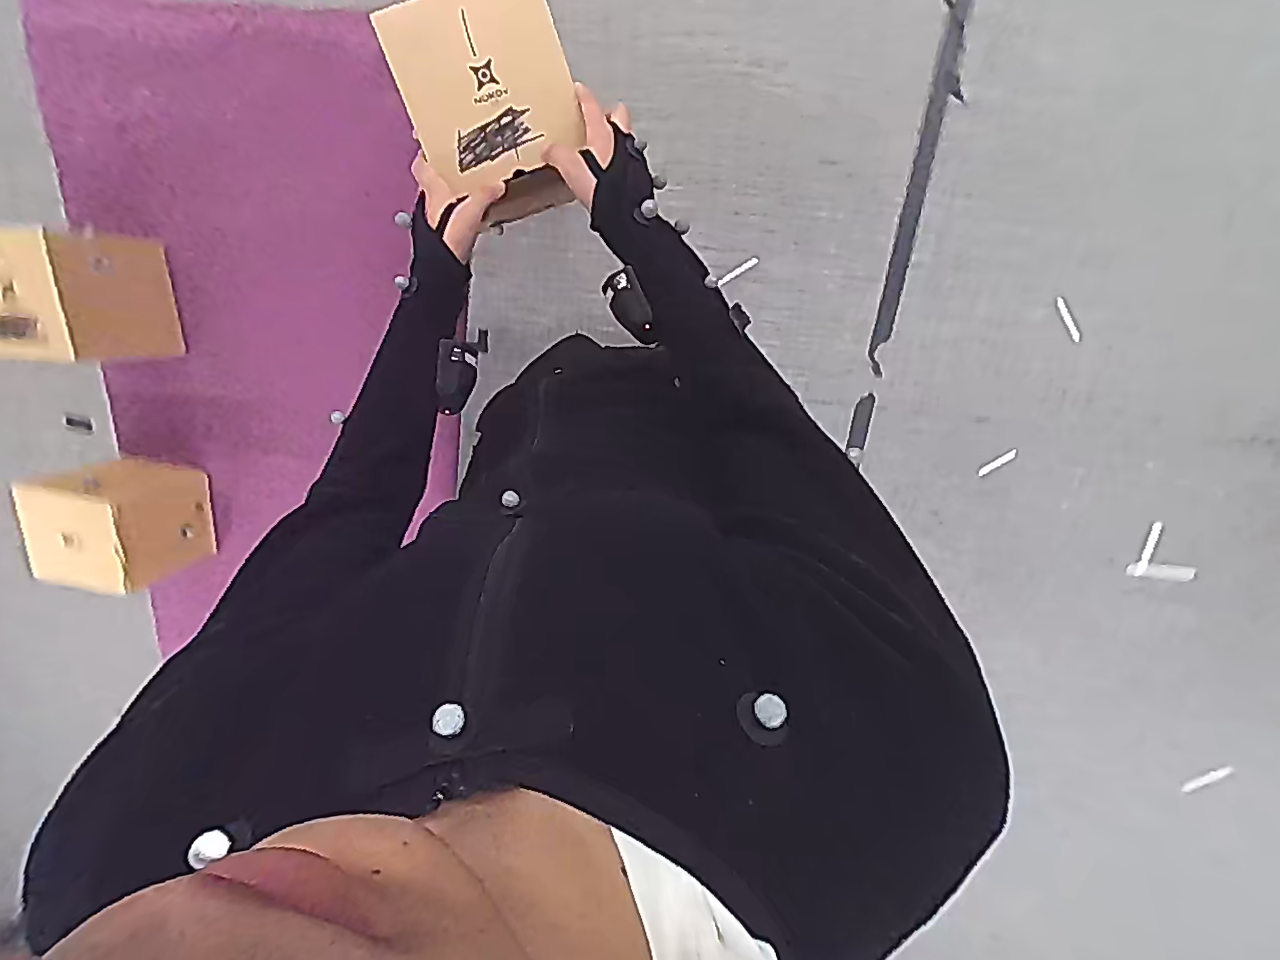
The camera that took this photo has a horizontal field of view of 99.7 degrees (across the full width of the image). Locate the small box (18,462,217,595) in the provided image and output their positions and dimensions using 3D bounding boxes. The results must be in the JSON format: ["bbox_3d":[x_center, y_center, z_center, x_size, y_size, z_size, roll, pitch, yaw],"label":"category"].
[{"bbox_3d":[-0.889,0.074,0.938,0.179,0.176,0.168,9,108,4],"label":"small box"}]

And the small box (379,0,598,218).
[{"bbox_3d":[-0.149,-0.411,0.604,0.168,0.176,0.179,-19,106,0],"label":"small box"}]
